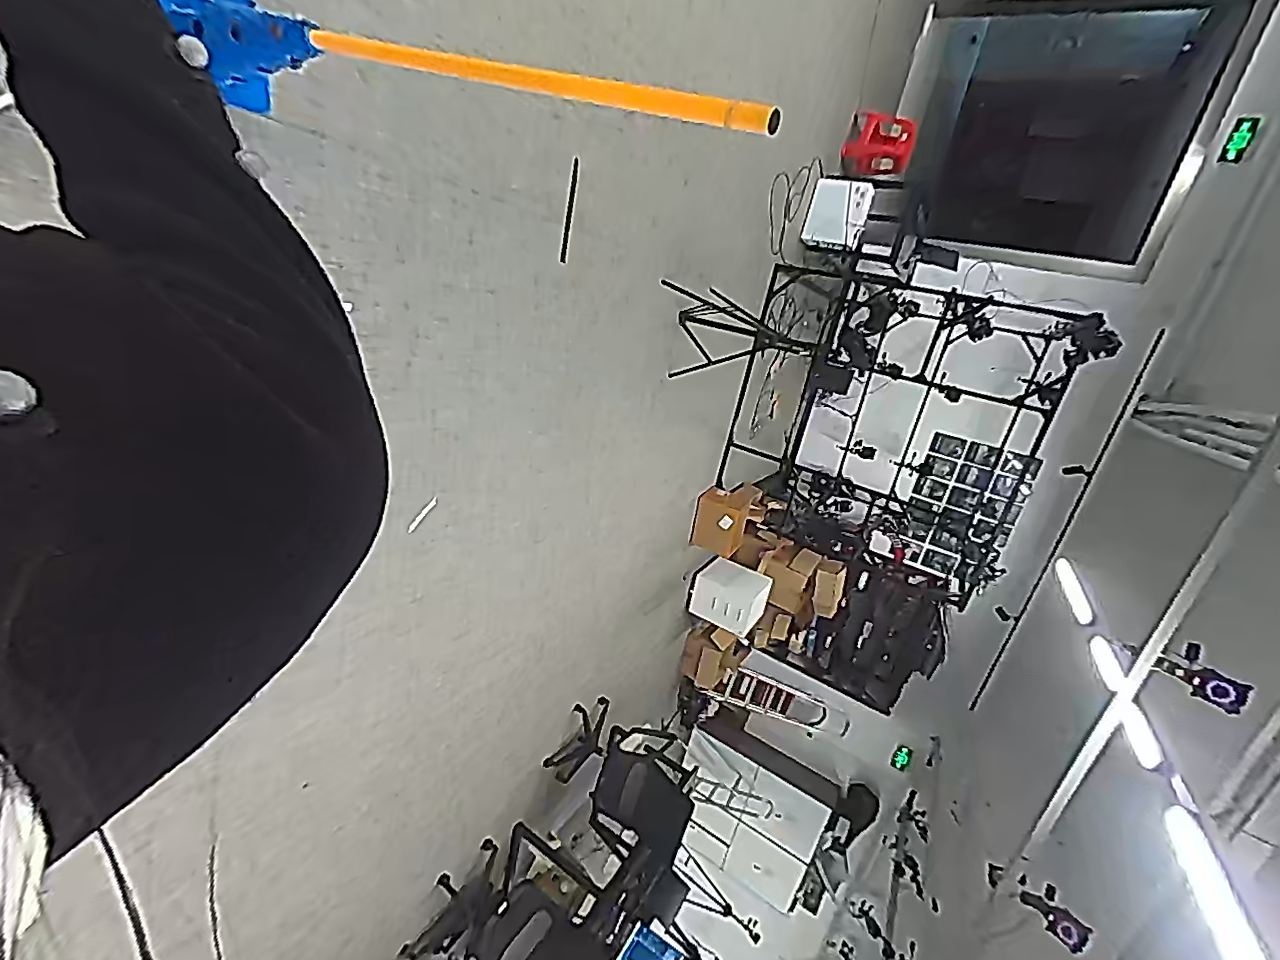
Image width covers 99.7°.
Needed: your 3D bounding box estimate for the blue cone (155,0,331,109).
[{"bbox_3d":[-0.692,-0.804,0.991,0.193,0.380,0.192,-24,129,-56],"label":"blue cone"}]
